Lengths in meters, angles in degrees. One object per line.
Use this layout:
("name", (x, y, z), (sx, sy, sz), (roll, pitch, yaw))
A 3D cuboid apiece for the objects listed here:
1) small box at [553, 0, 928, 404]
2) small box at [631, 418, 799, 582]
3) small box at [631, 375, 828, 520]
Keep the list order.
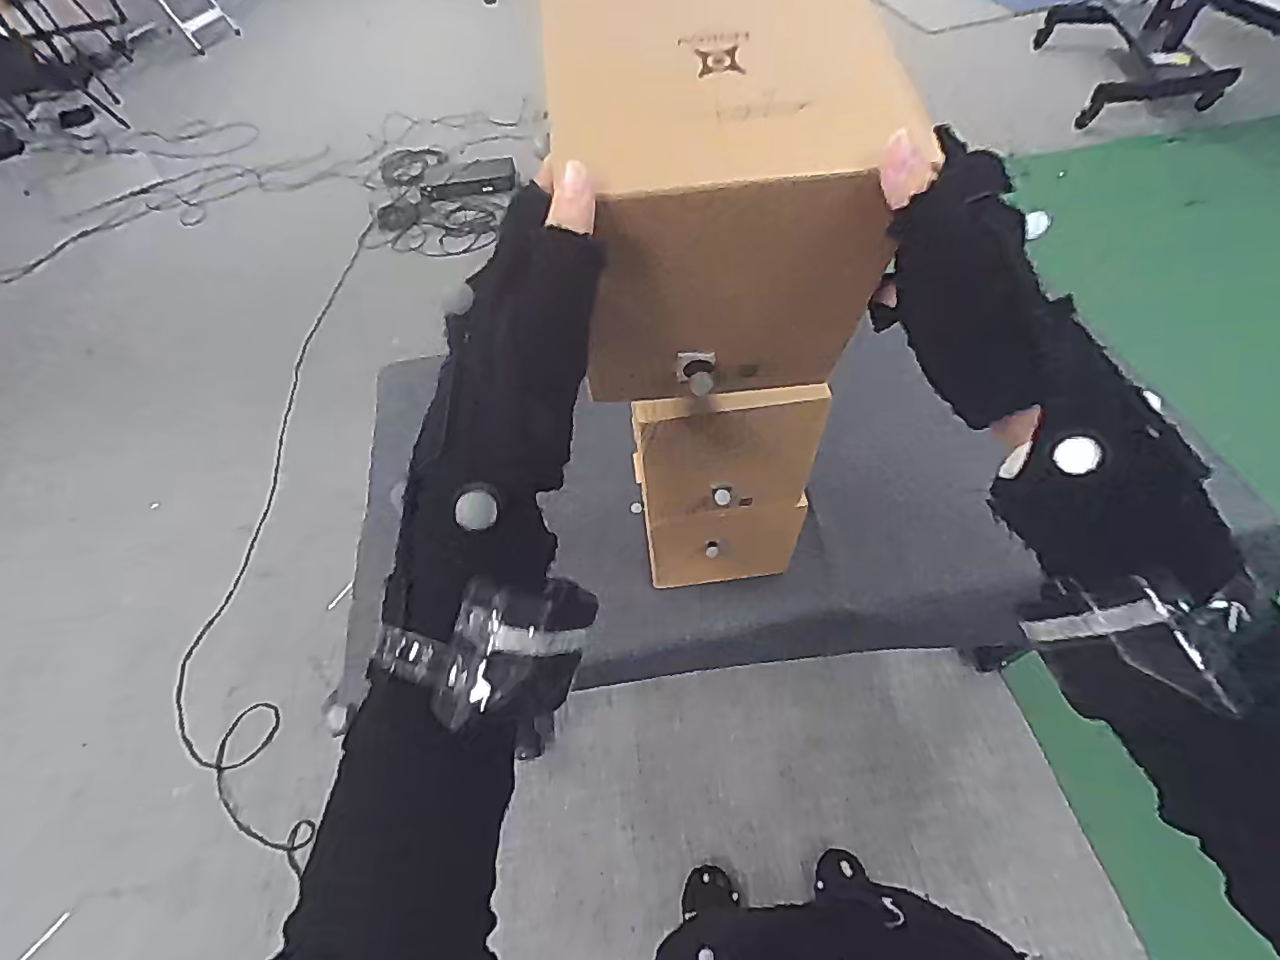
("small box", (0.039, -0.169, 0.340), (0.168, 0.176, 0.179), (-5, 66, -1))
("small box", (0.088, 0.020, 0.694), (0.179, 0.176, 0.168), (-7, 55, 0))
("small box", (0.074, -0.080, 0.563), (0.168, 0.176, 0.179), (-7, 55, 0))
